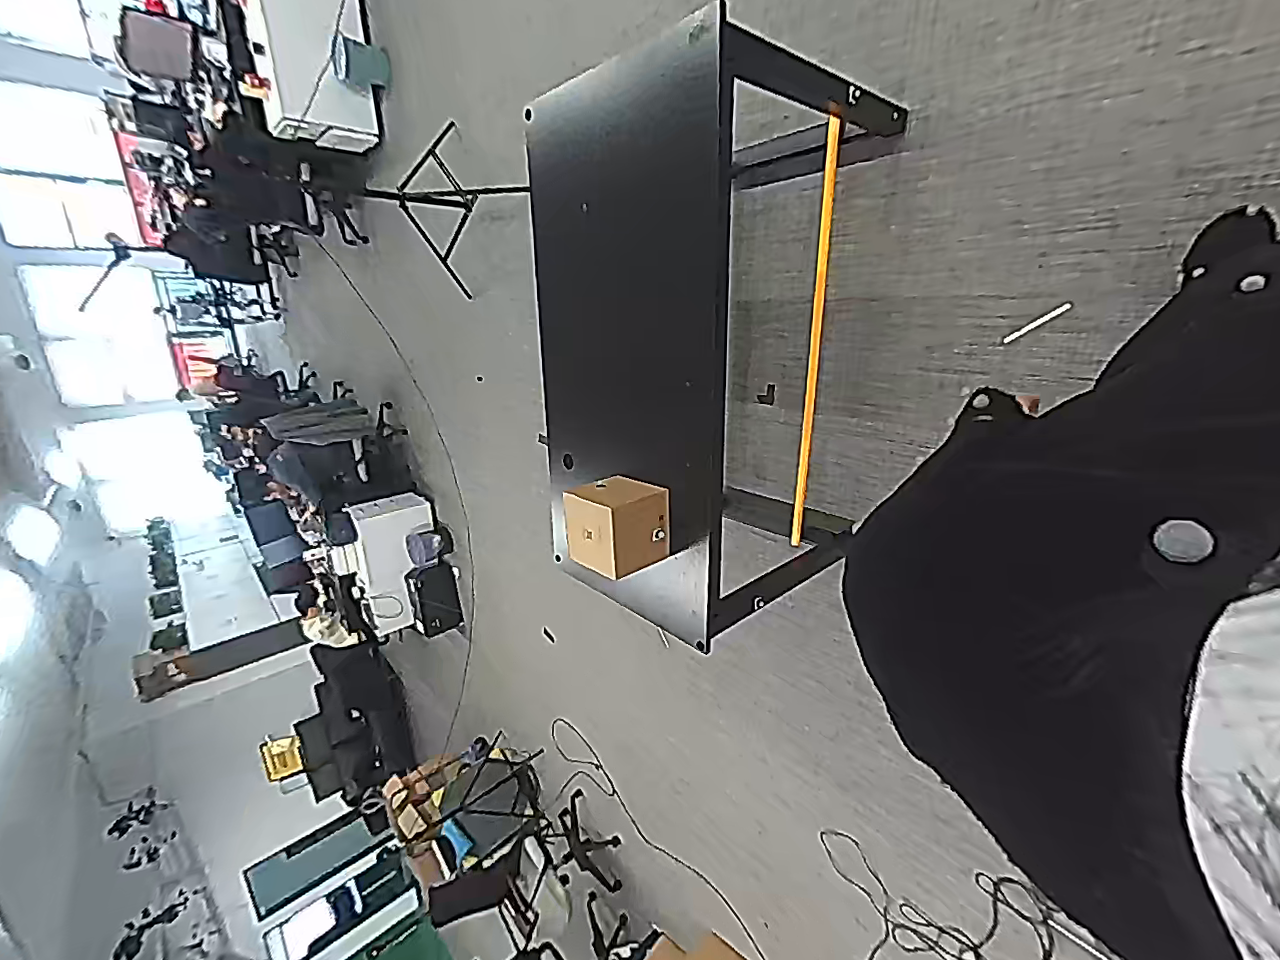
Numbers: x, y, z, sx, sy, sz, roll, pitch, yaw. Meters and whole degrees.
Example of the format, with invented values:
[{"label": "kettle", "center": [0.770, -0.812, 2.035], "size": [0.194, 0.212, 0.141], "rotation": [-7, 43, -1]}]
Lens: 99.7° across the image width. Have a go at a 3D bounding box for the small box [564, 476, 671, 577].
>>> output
[{"label": "small box", "center": [-0.048, 0.095, 1.217], "size": [0.179, 0.176, 0.168], "rotation": [14, 114, 46]}]
